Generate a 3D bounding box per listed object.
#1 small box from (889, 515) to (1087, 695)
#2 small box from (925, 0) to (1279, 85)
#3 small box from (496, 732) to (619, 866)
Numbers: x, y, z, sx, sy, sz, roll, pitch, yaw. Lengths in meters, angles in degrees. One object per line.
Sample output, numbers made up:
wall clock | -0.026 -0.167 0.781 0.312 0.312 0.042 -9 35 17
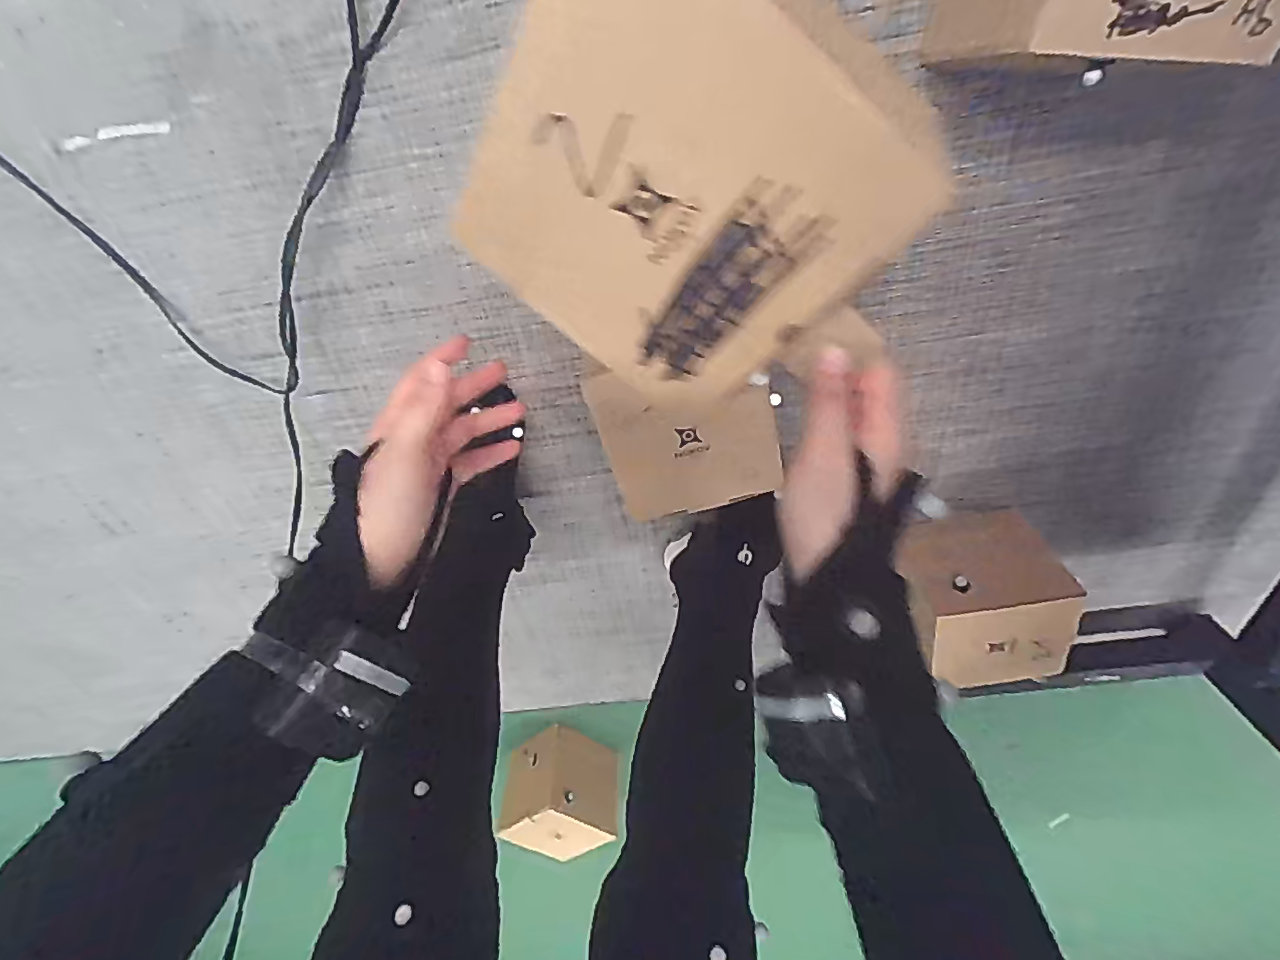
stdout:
small box | 0.468 0.172 0.763 0.179 0.176 0.168 -12 125 8
small box | 0.332 -0.389 0.375 0.168 0.176 0.179 2 125 -1
small box | -0.157 0.643 1.095 0.179 0.176 0.168 40 116 -23
